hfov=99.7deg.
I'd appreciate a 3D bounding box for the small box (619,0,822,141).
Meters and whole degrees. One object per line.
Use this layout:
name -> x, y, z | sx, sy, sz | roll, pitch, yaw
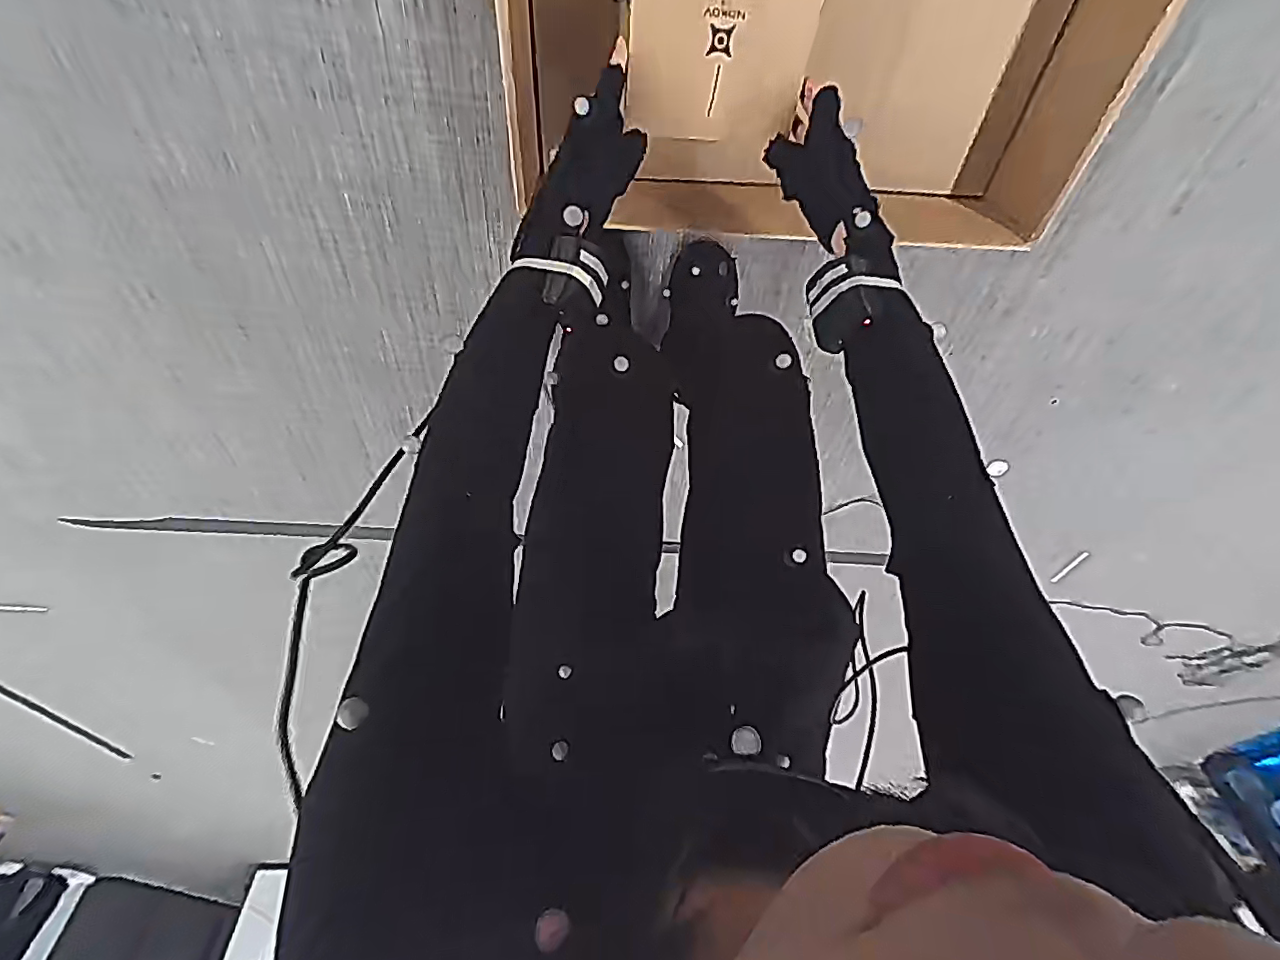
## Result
small box -> 0.068, -0.456, 0.521 | 0.168, 0.176, 0.179 | 1, 137, -5
